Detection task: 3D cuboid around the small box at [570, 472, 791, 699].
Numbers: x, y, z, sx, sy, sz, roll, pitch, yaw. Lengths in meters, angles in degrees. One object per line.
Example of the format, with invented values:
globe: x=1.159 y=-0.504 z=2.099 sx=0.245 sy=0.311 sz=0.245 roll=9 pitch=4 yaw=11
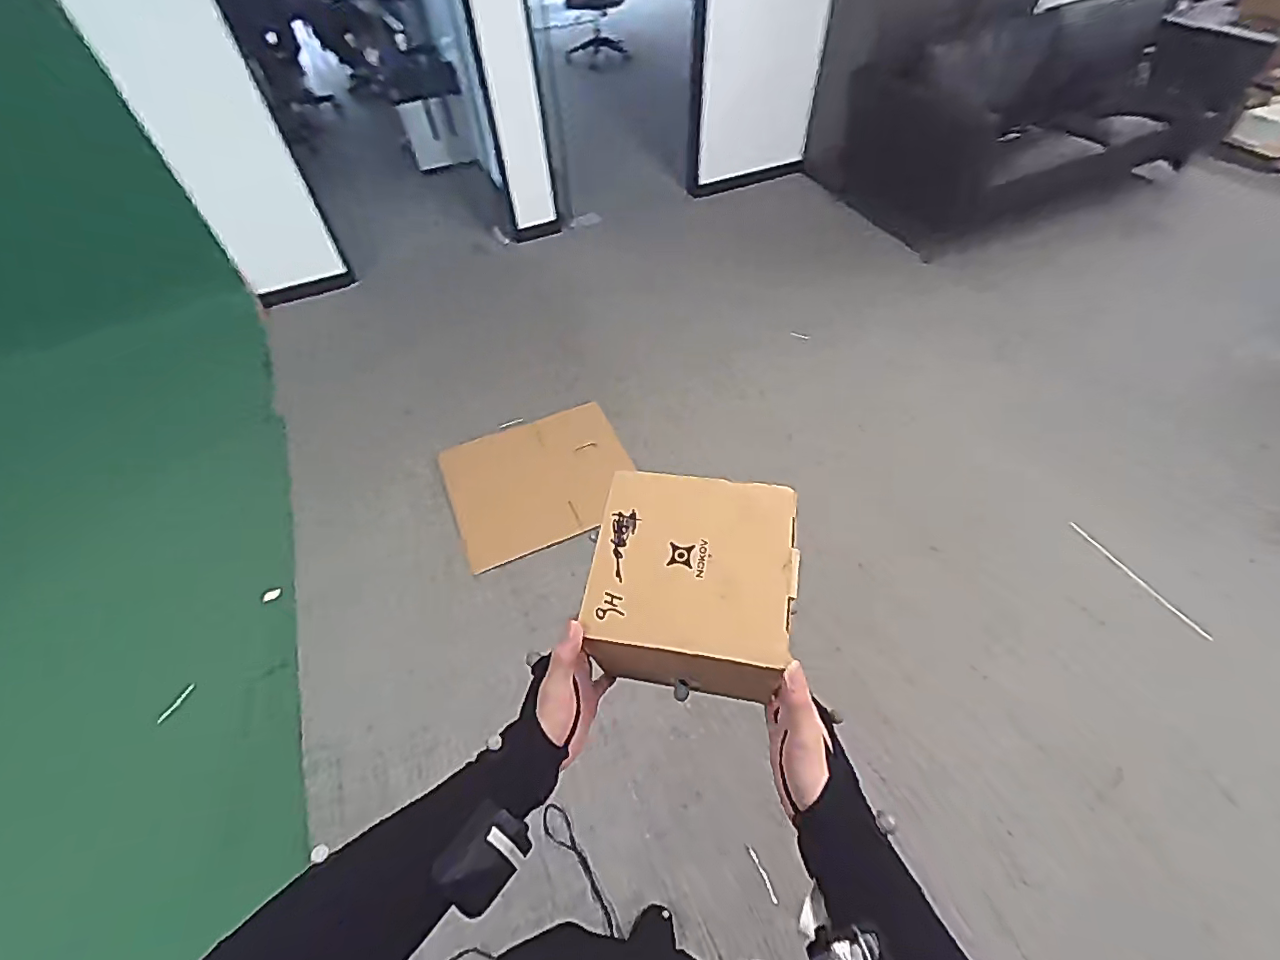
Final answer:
small box: x=0.047 y=0.112 z=0.544 sx=0.179 sy=0.176 sz=0.168 roll=6 pitch=59 yaw=9
